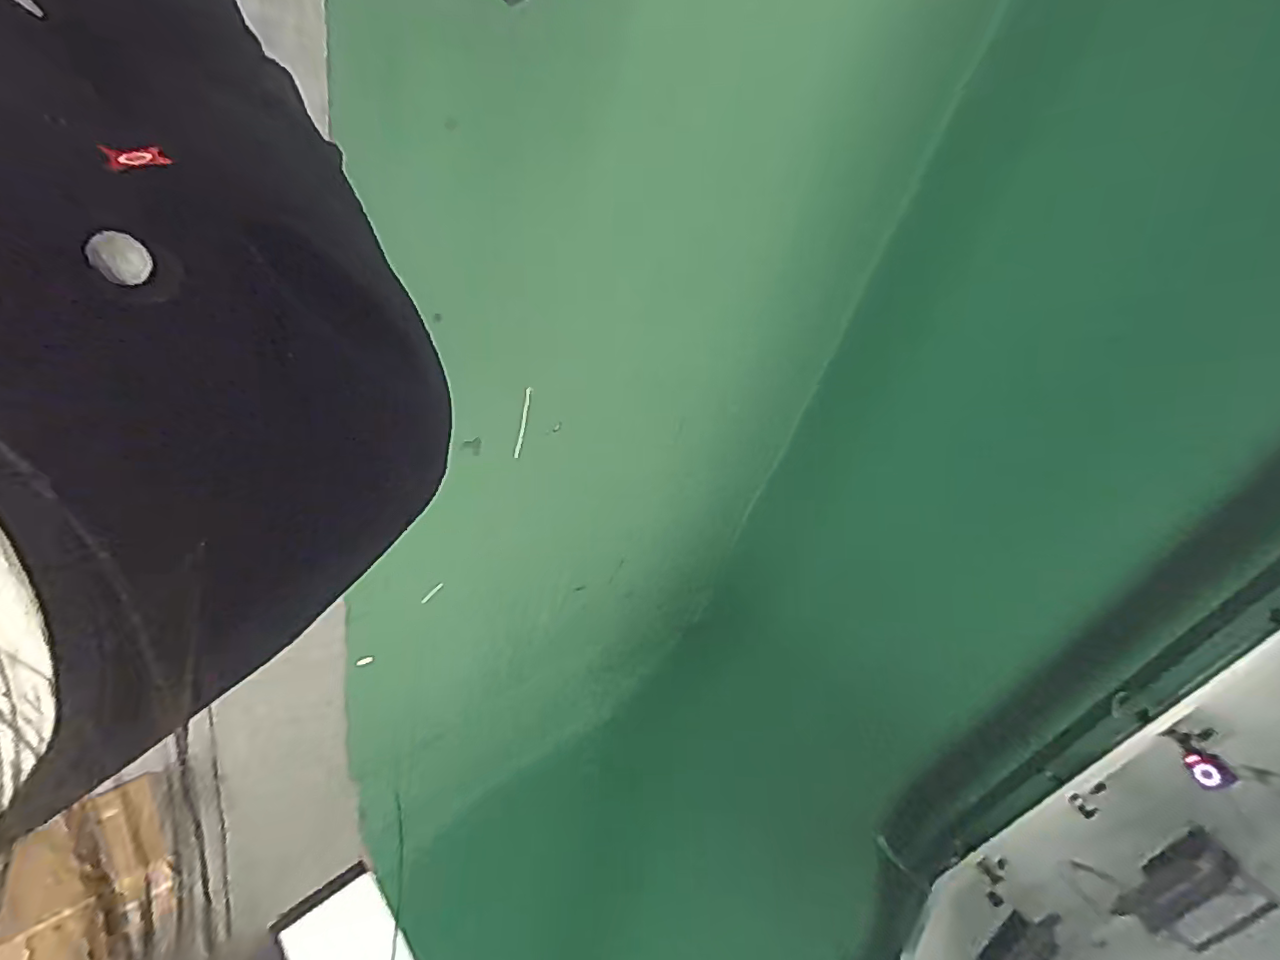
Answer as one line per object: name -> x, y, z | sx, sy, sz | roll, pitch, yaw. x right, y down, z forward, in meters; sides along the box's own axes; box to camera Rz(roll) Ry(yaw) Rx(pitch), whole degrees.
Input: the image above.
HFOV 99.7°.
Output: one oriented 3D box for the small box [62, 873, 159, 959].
small box -> -1.500, 1.271, 1.534 | 0.168, 0.176, 0.179 | -14, 133, -45
